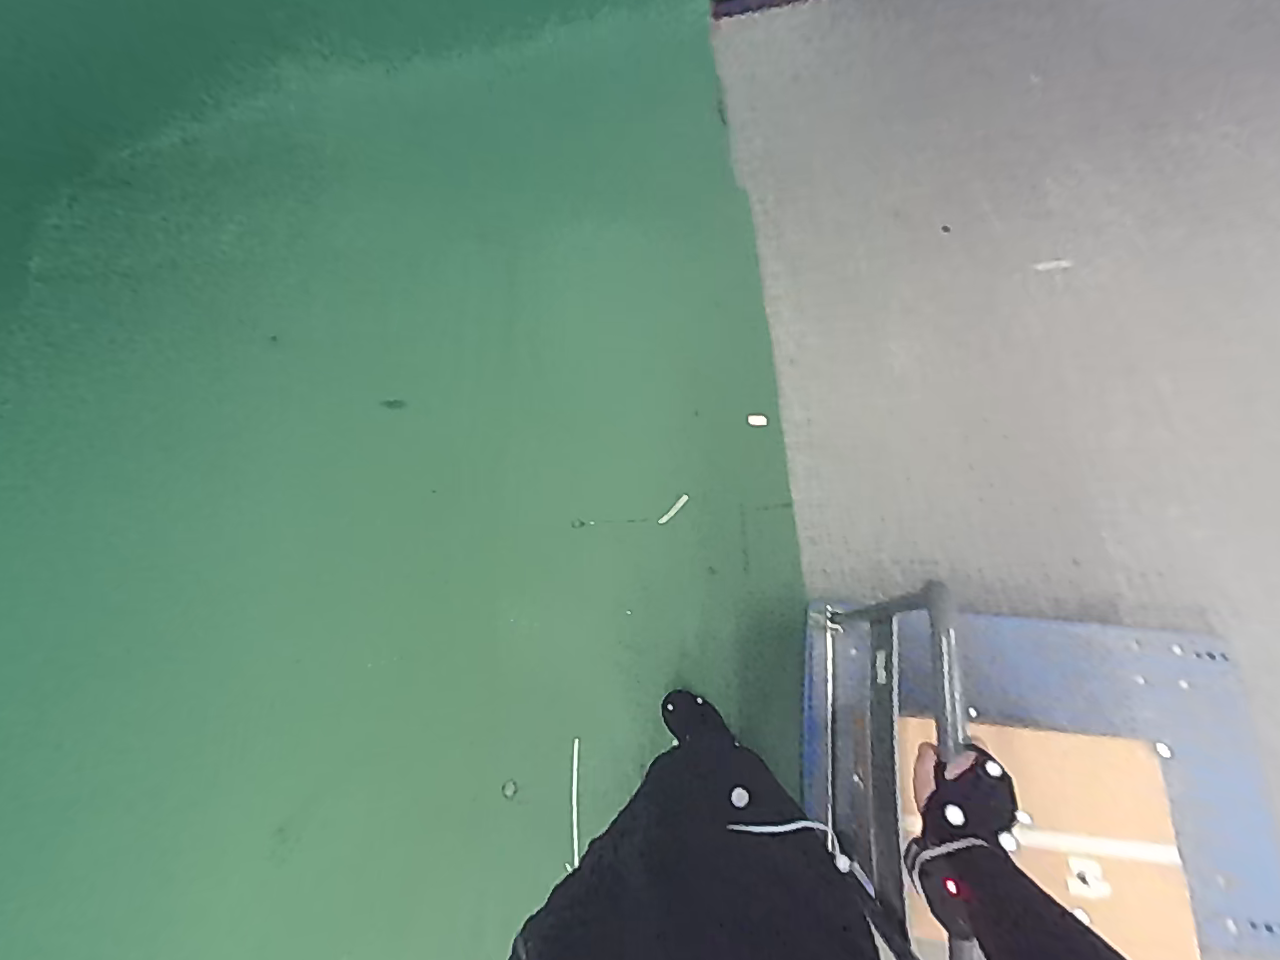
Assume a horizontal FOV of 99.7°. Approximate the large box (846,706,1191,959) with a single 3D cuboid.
[{"bbox_3d":[0.625,0.598,0.990,0.408,0.320,0.320,2,72,8],"label":"large box"}]
